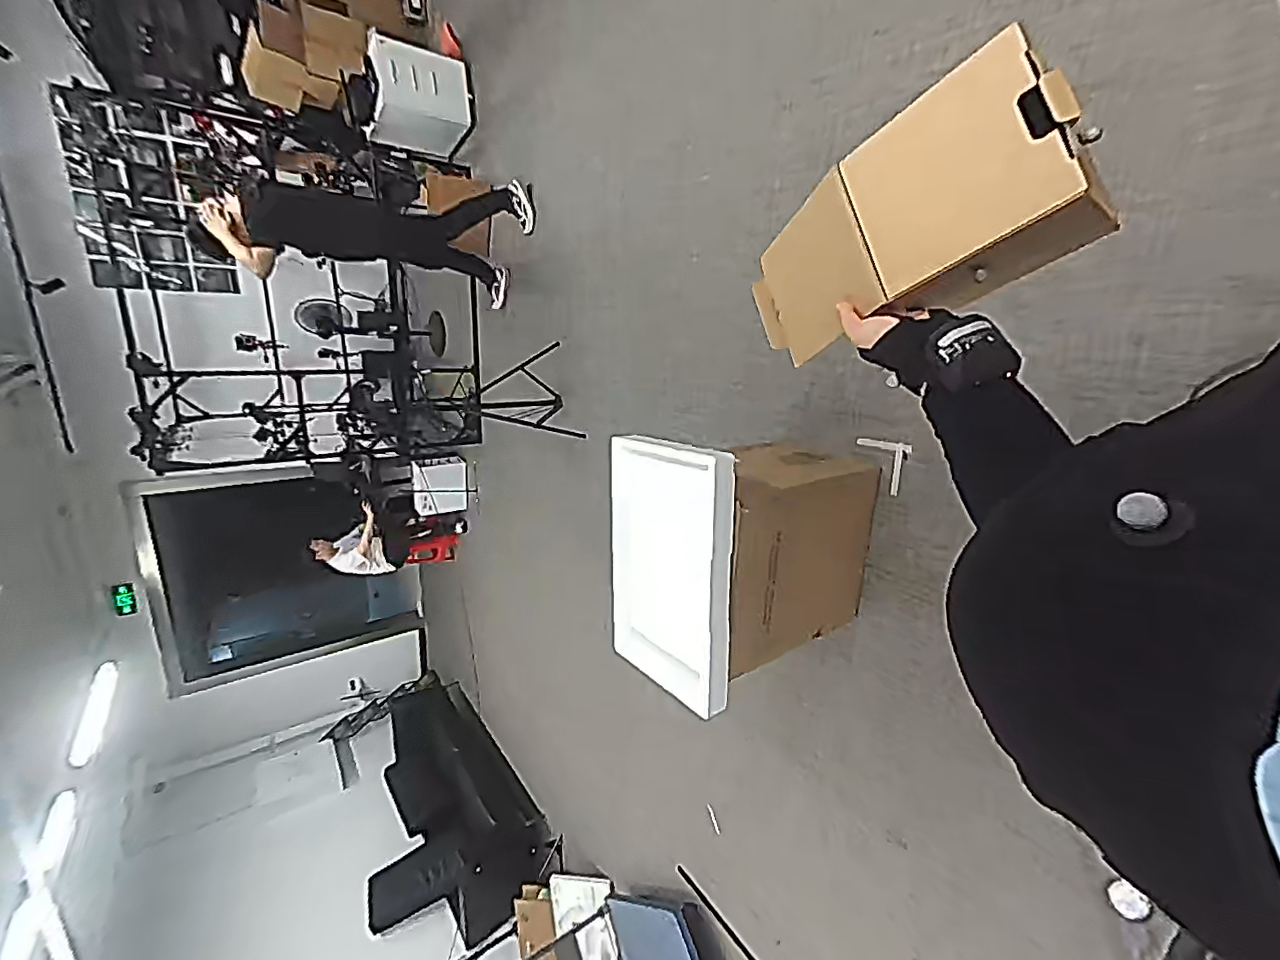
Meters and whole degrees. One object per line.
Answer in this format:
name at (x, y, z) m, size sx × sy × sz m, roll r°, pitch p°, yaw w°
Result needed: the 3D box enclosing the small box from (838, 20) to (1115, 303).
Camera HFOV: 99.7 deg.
small box at (0.347, -0.303, 0.565) m, size 0.179 × 0.176 × 0.168 m, roll -25°, pitch 79°, yaw 48°
